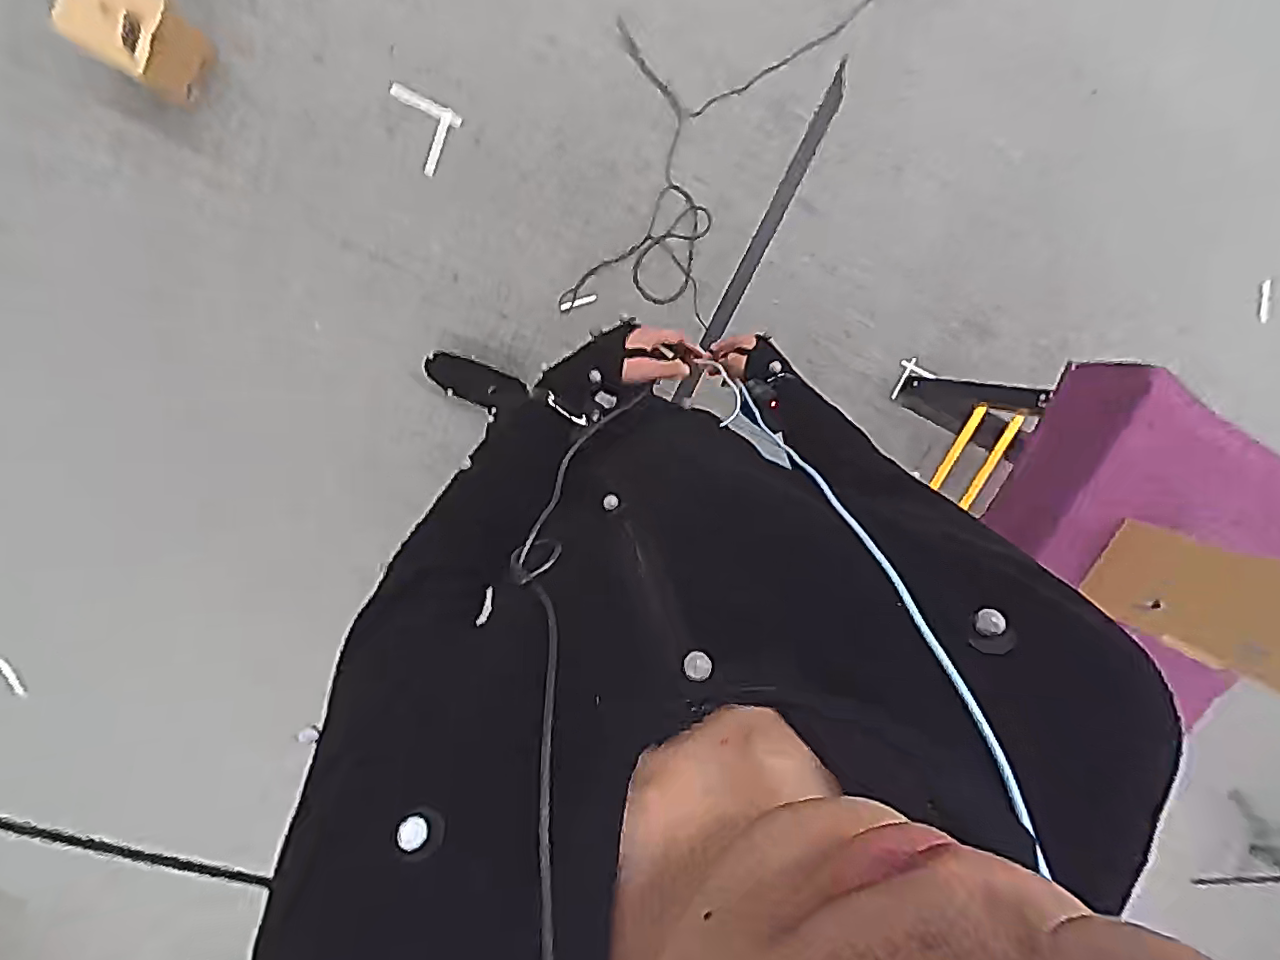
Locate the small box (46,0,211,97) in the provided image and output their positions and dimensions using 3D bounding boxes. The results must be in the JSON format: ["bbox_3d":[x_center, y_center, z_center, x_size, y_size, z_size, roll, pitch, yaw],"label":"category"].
[{"bbox_3d":[-1.079,-0.969,1.158,0.179,0.176,0.168,27,99,-13],"label":"small box"}]

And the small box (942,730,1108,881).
[{"bbox_3d":[0.748,0.635,1.071,0.168,0.176,0.179,25,100,-14],"label":"small box"}]

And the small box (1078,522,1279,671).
[{"bbox_3d":[0.958,0.204,0.983,0.168,0.176,0.179,26,100,-14],"label":"small box"}]
